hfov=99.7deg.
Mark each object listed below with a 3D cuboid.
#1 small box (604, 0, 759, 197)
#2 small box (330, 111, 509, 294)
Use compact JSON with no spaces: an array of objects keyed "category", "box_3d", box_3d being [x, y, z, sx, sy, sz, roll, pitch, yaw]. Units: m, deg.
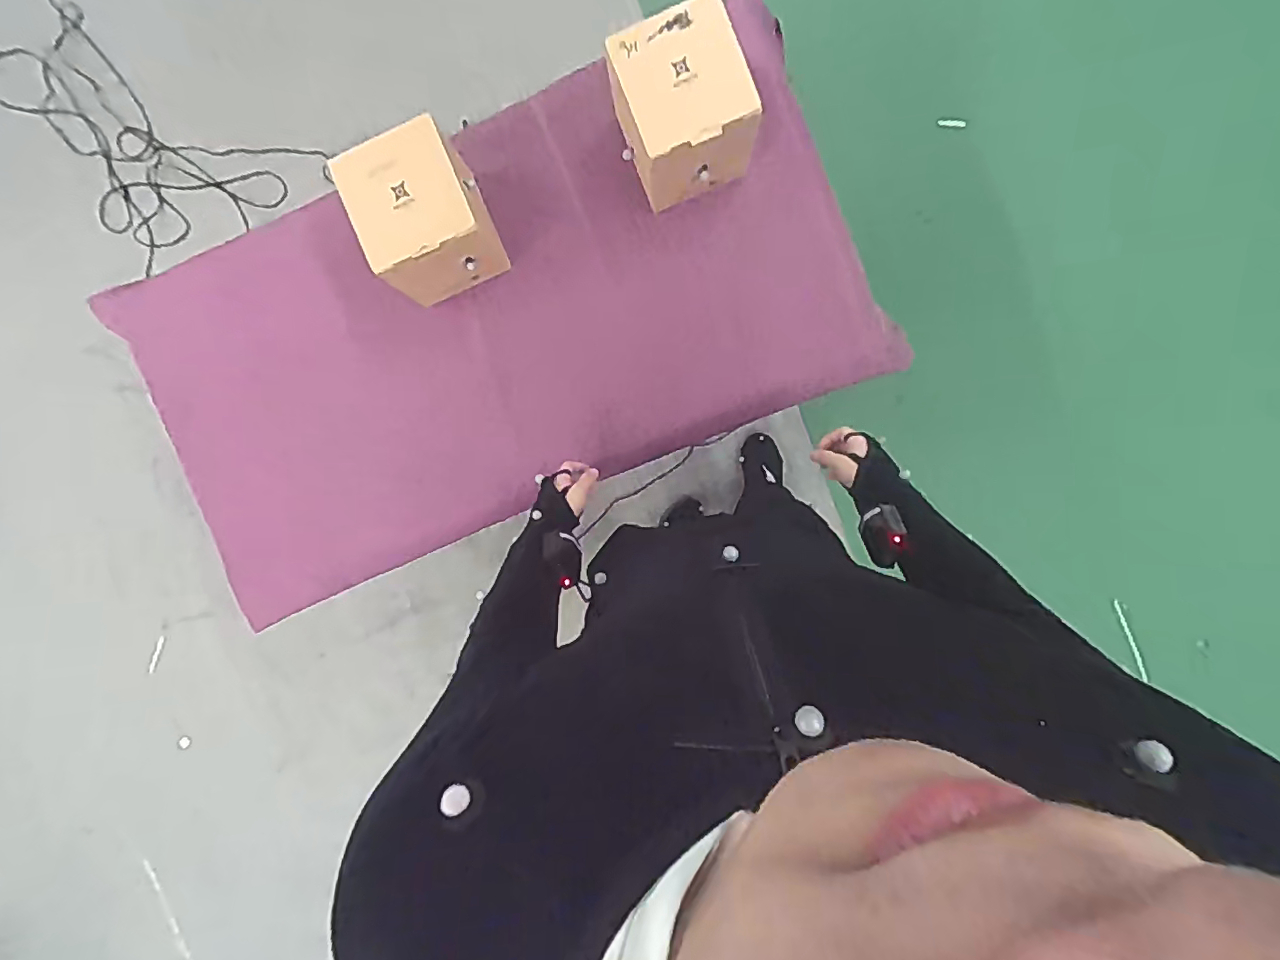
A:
[{"category":"small box","box_3d":[0.062,-0.552,0.801,0.168,0.176,0.179,-21,92,5]},{"category":"small box","box_3d":[-0.326,-0.408,0.838,0.168,0.176,0.179,-23,91,4]}]
